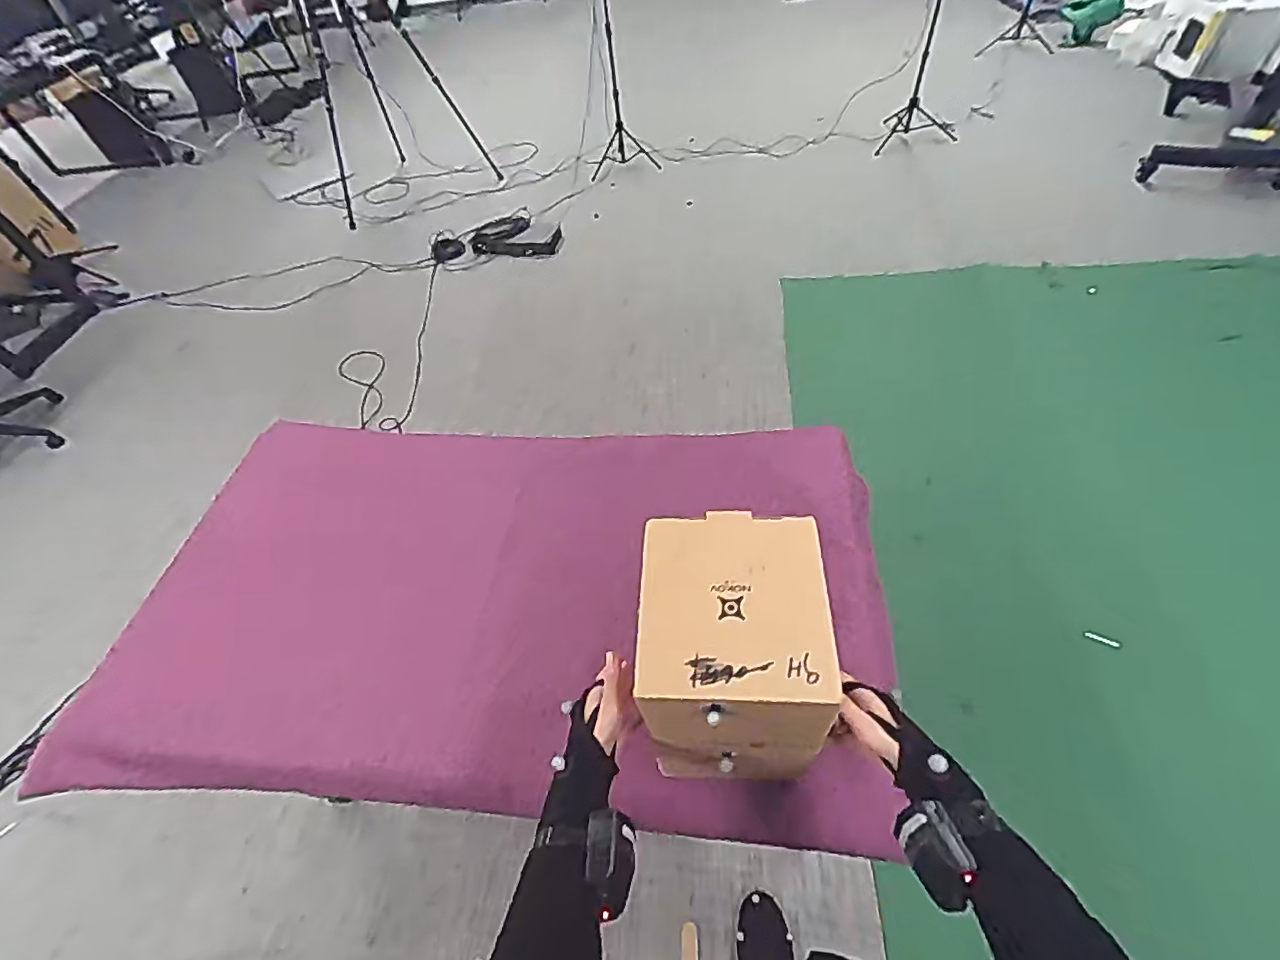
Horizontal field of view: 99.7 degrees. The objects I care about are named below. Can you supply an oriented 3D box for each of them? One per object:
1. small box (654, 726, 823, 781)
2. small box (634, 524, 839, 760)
[{"bbox_3d":[0.117,0.264,0.667,0.179,0.176,0.168,-4,51,9],"label":"small box"},{"bbox_3d":[0.094,0.162,0.542,0.168,0.176,0.179,-3,51,10],"label":"small box"}]
